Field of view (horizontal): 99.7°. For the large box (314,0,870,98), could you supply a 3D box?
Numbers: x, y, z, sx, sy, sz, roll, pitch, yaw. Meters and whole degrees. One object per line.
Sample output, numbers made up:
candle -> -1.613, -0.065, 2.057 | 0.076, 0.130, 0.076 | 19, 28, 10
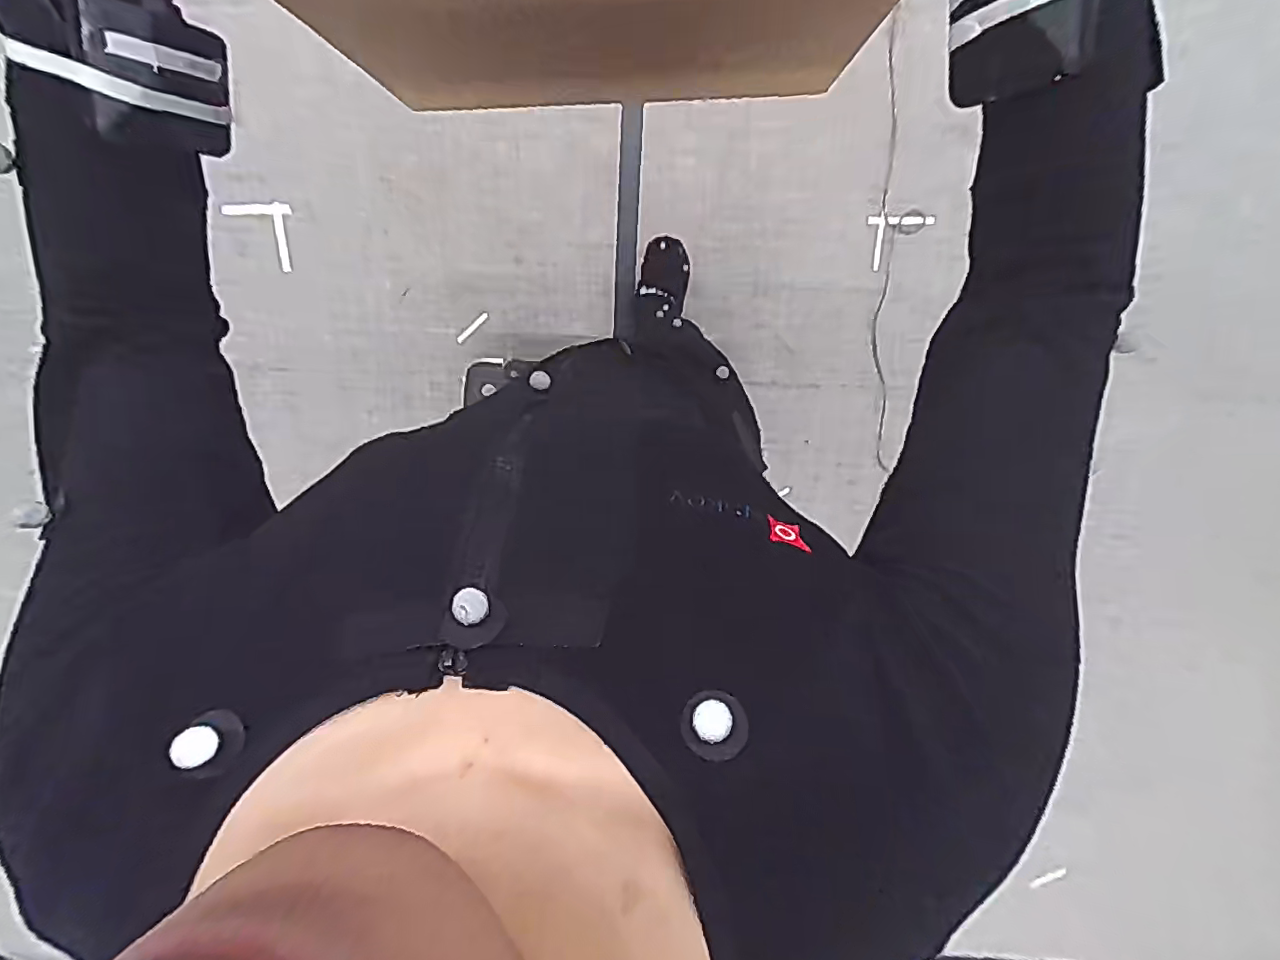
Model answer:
large box -> -0.032, -0.480, 0.334 | 0.408, 0.320, 0.320 | -2, 109, 2
